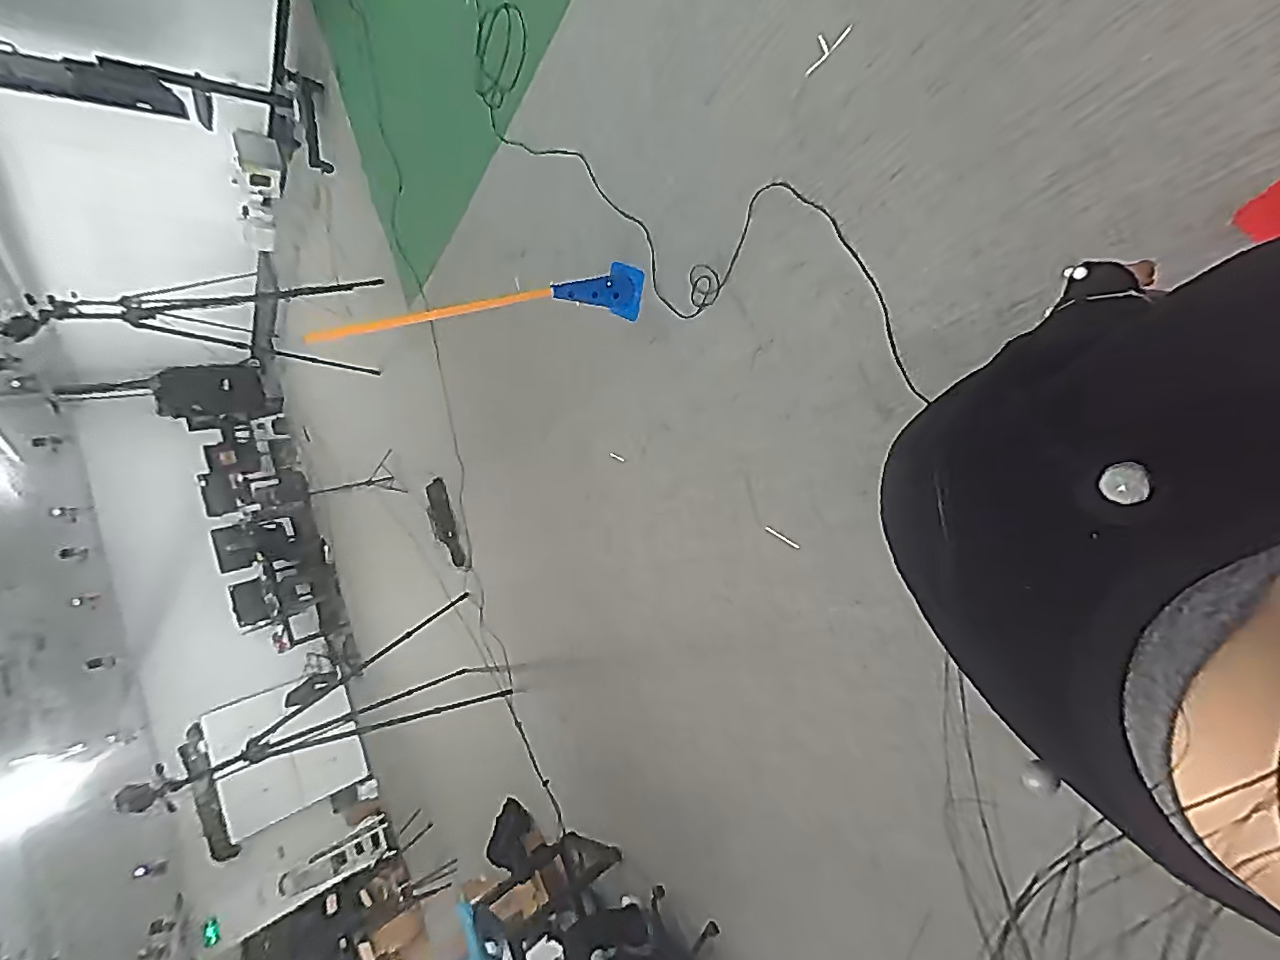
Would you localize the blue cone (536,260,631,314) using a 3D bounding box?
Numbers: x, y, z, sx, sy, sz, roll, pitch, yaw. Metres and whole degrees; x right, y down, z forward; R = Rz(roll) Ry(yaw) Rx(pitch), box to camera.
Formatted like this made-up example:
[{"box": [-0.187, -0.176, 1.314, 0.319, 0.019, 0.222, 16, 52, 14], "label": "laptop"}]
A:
[{"box": [-0.224, -0.736, 2.069, 0.192, 0.380, 0.193, 33, 127, 36], "label": "blue cone"}]
